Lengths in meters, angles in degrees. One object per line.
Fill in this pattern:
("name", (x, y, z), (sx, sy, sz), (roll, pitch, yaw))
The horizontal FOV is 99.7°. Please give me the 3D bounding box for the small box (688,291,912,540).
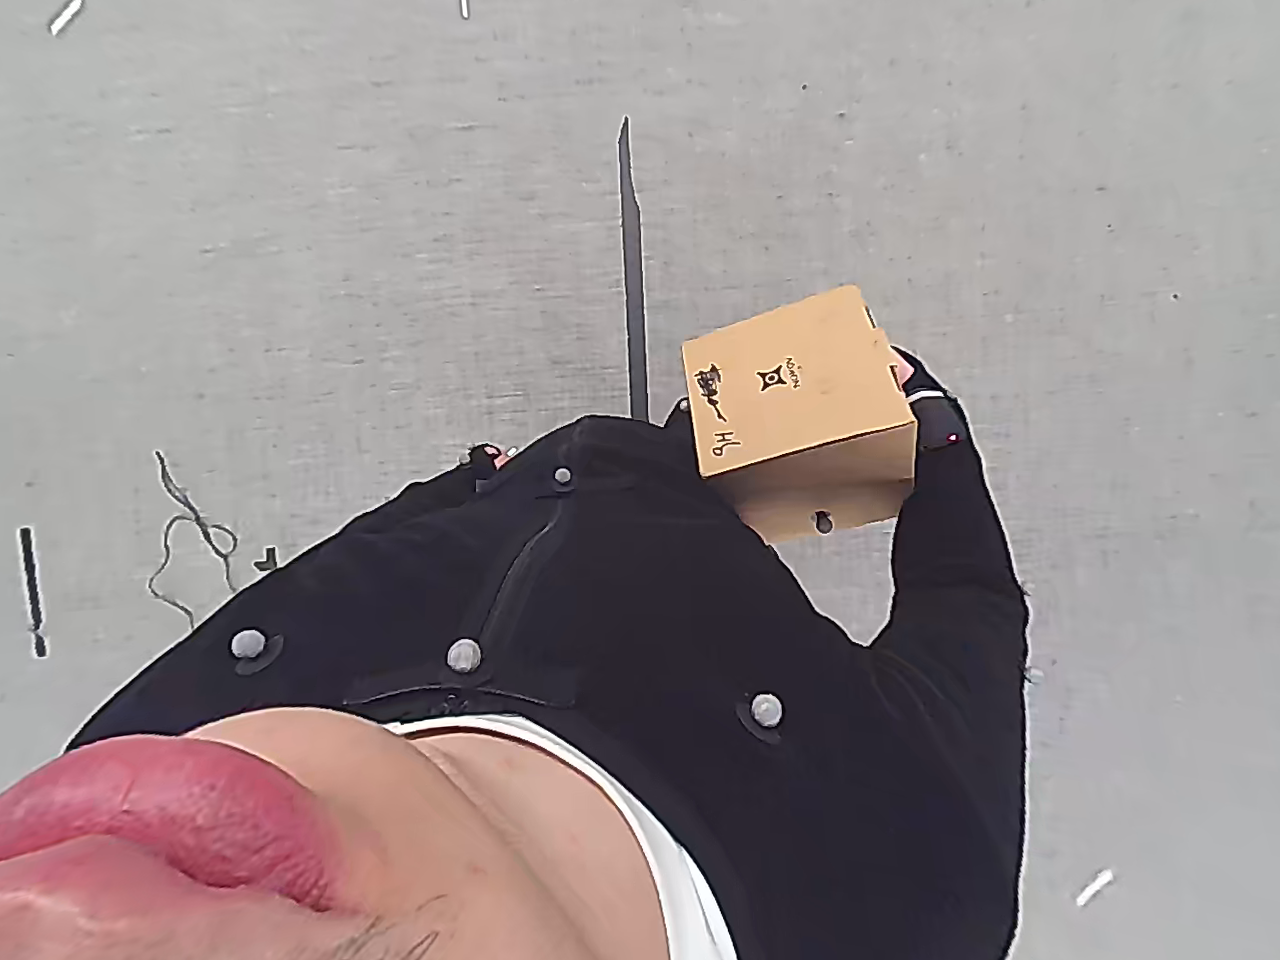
("small box", (0.162, -0.055, 0.562), (0.179, 0.176, 0.168), (-14, 55, 16))
